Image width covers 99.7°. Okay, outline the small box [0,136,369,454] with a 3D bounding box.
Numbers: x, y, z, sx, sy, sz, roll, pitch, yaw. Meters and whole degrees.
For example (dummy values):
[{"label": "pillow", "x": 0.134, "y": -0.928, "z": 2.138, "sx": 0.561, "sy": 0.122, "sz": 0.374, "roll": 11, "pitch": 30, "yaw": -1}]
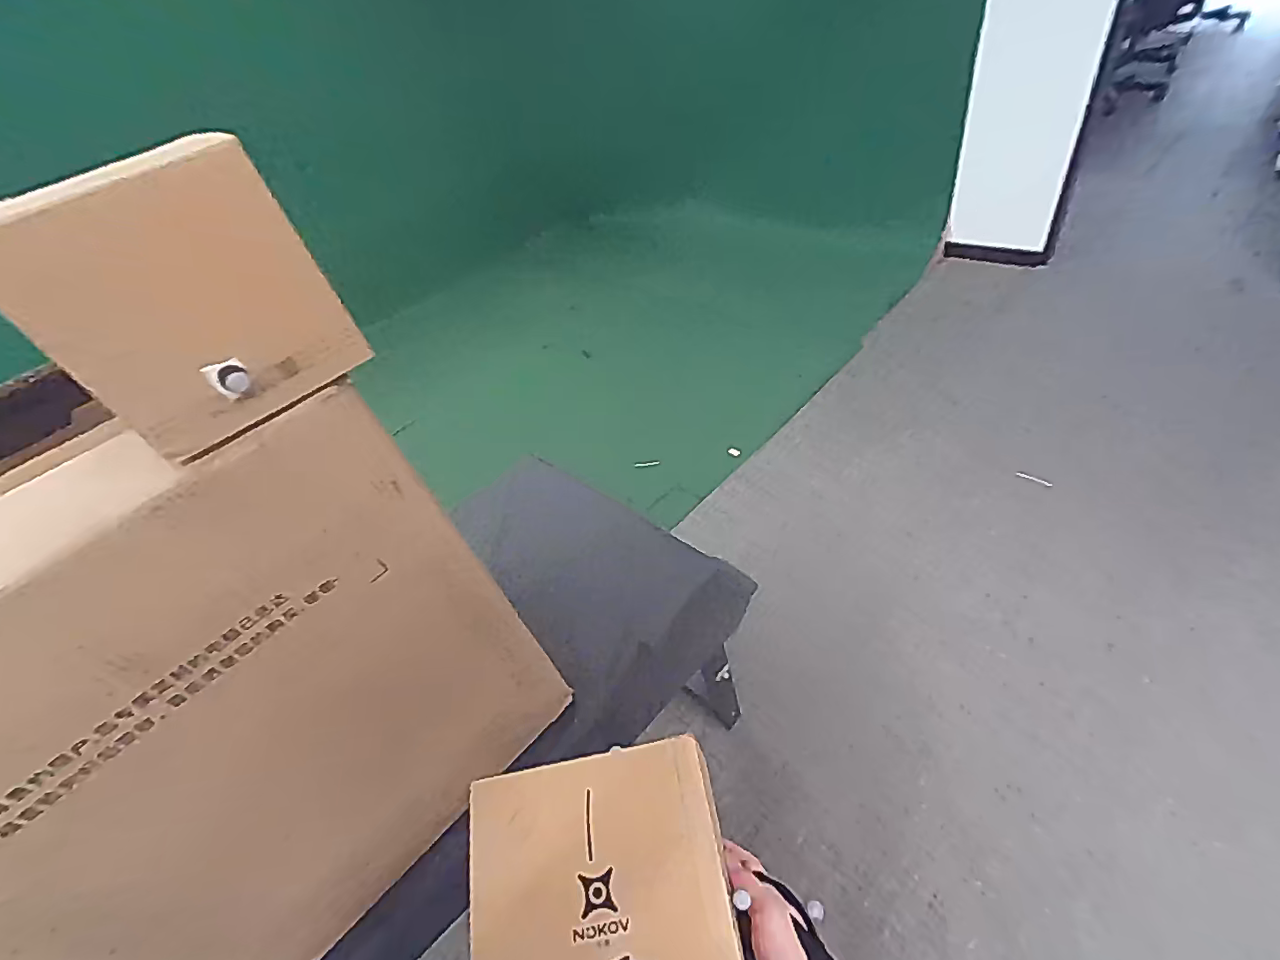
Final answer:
[{"label": "small box", "x": -0.355, "y": -0.147, "z": 0.423, "sx": 0.168, "sy": 0.176, "sz": 0.179, "roll": -41, "pitch": 49, "yaw": -23}]
